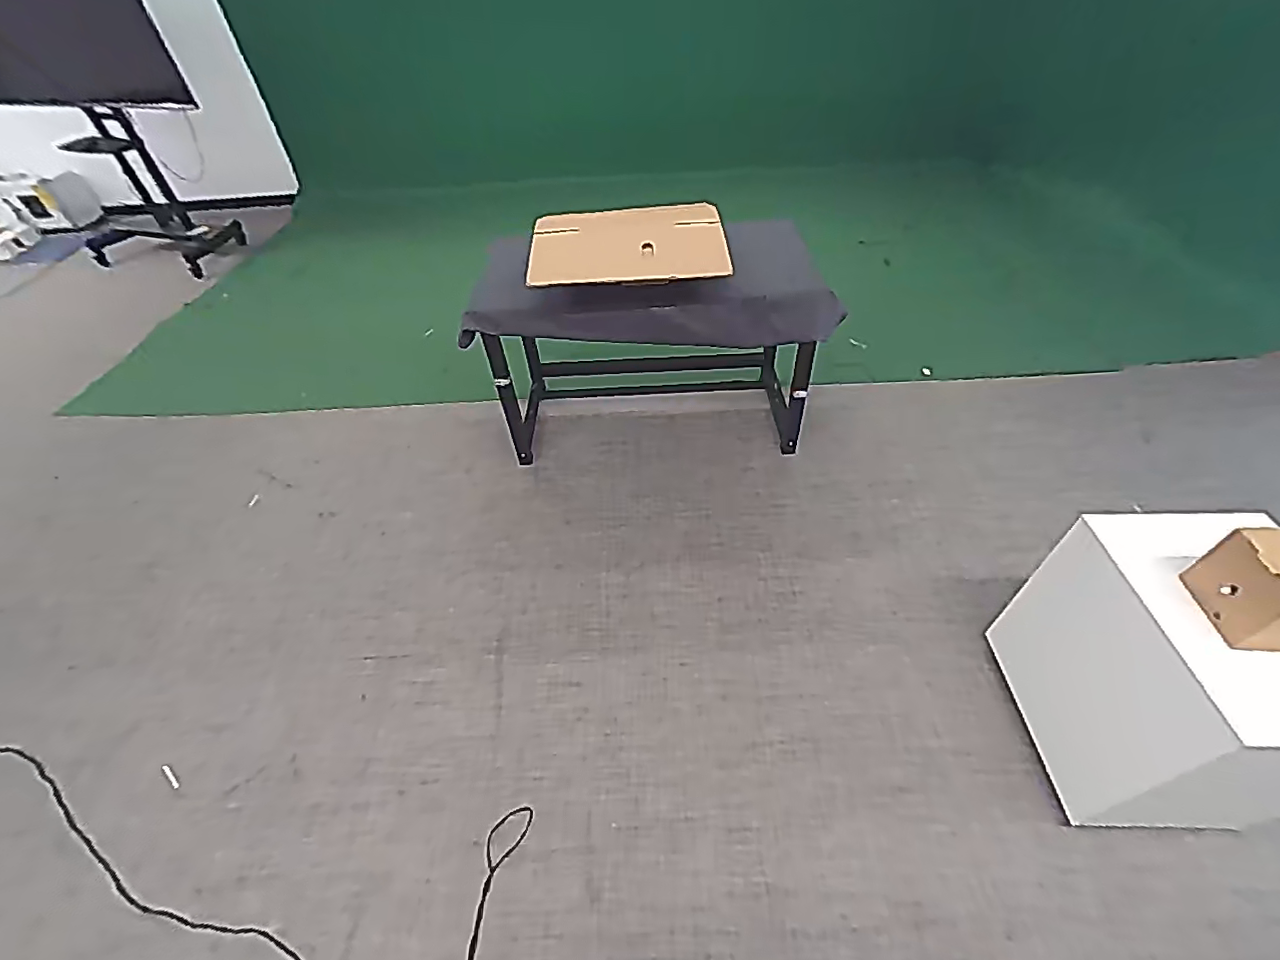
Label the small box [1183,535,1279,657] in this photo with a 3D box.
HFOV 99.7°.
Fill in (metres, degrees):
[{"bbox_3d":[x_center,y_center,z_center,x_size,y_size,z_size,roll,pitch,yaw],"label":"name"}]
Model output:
[{"bbox_3d":[1.185,0.218,1.006,0.179,0.176,0.168,0,45,2],"label":"small box"}]
